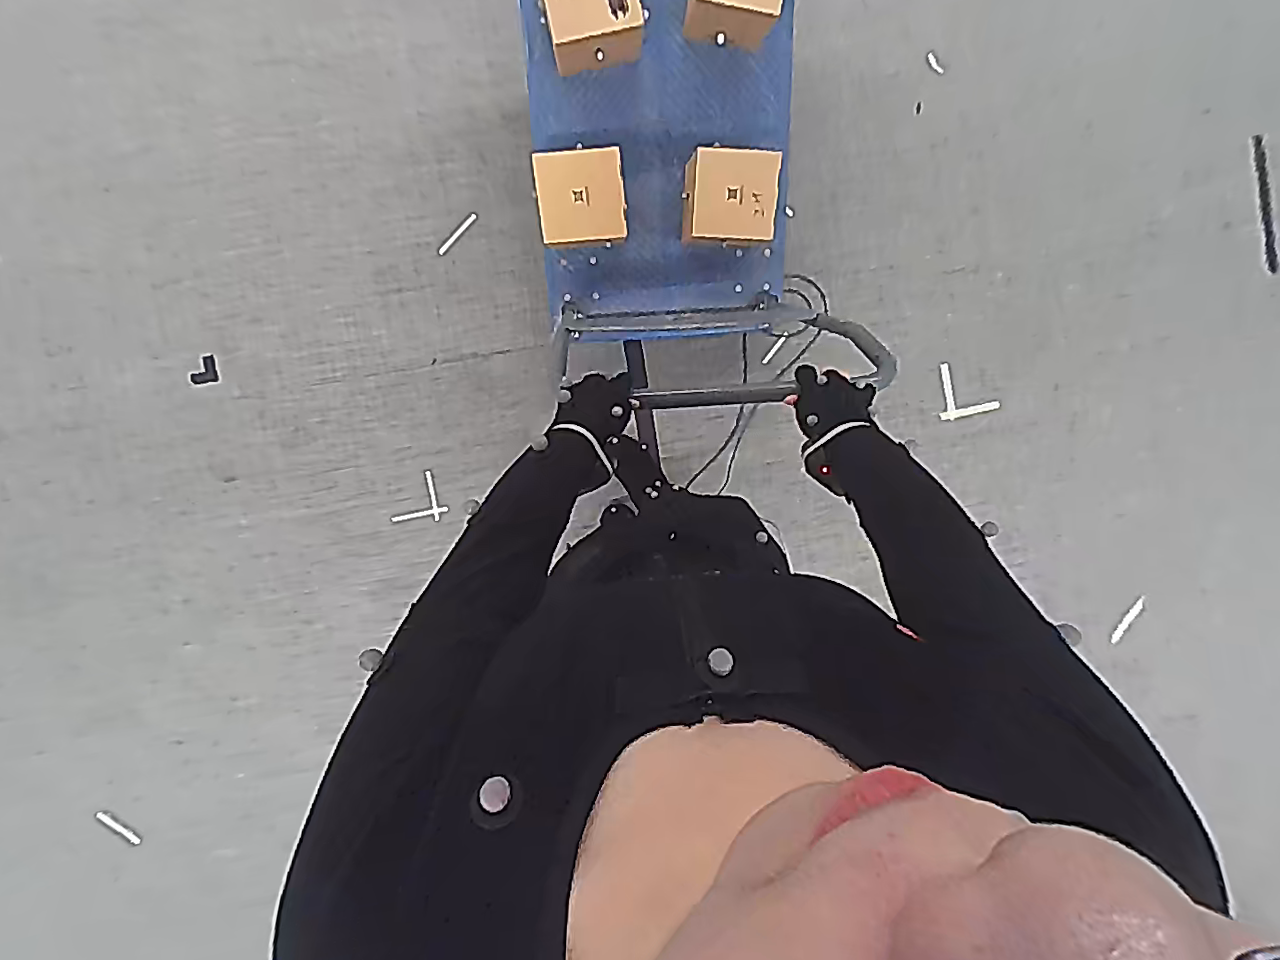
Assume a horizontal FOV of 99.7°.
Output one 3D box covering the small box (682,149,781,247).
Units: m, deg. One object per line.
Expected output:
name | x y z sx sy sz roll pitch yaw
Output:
small box | 0.189 -0.607 1.182 0.179 0.176 0.168 1 110 -4

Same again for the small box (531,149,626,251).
small box | -0.128 -0.594 1.163 0.179 0.176 0.168 -7 110 -3

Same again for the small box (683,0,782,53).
small box | 0.186 -0.981 1.051 0.168 0.176 0.179 6 110 -7
